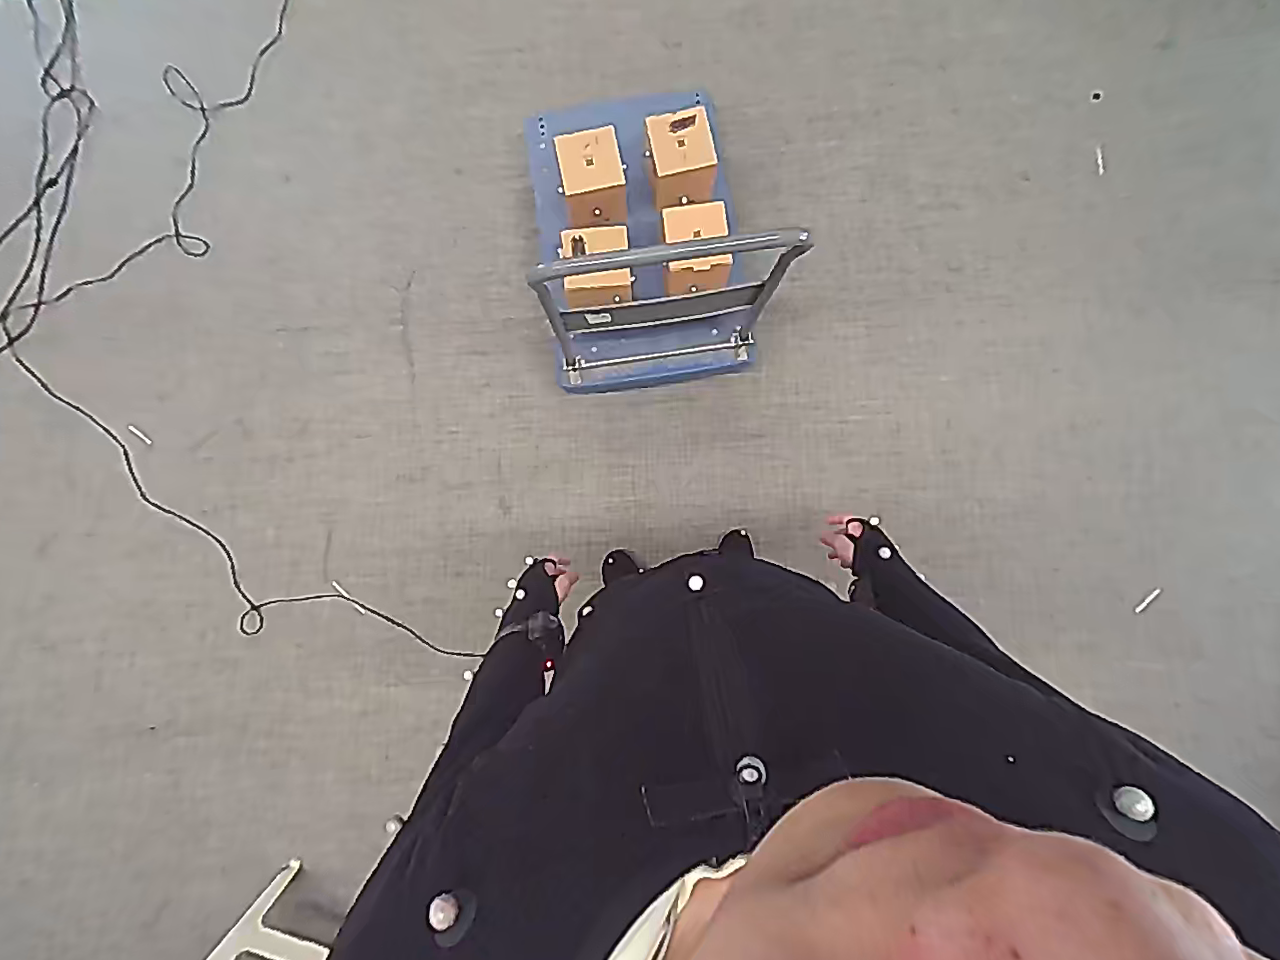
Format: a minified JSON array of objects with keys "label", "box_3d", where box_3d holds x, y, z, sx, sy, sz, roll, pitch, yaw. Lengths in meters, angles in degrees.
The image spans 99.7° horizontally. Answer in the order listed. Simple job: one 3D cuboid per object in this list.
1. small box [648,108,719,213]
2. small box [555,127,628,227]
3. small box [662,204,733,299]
[{"label":"small box","box_3d":[0.115,-0.891,1.518,0.168,0.176,0.179,-12,85,1]},{"label":"small box","box_3d":[-0.131,-0.839,1.518,0.168,0.176,0.179,-11,83,-1]},{"label":"small box","box_3d":[0.153,-0.625,1.489,0.168,0.176,0.179,-7,84,0]}]
